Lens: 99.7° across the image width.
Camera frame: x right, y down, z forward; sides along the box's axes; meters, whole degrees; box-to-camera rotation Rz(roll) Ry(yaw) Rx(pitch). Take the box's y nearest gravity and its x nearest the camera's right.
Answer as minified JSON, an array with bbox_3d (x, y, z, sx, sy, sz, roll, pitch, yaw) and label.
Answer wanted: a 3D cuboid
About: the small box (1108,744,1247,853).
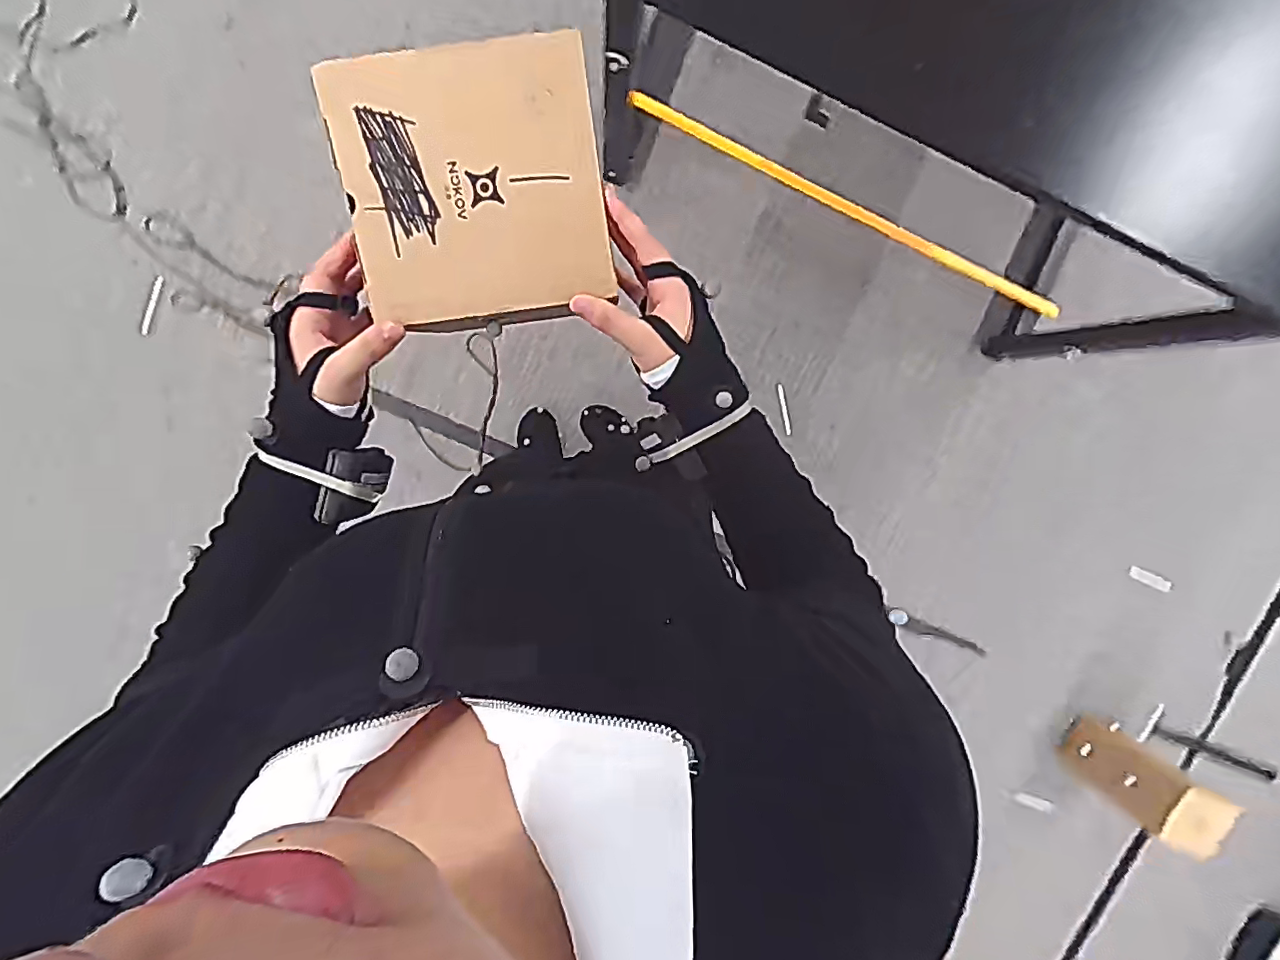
[{"bbox_3d":[1.458,0.862,1.479,0.179,0.176,0.168,23,97,-6],"label":"small box"}]

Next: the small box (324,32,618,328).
[{"bbox_3d":[-0.112,-0.219,0.442,0.179,0.176,0.168,-7,105,-1],"label":"small box"}]

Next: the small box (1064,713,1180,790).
[{"bbox_3d":[1.454,0.840,1.643,0.179,0.176,0.168,22,97,-6],"label":"small box"}]
